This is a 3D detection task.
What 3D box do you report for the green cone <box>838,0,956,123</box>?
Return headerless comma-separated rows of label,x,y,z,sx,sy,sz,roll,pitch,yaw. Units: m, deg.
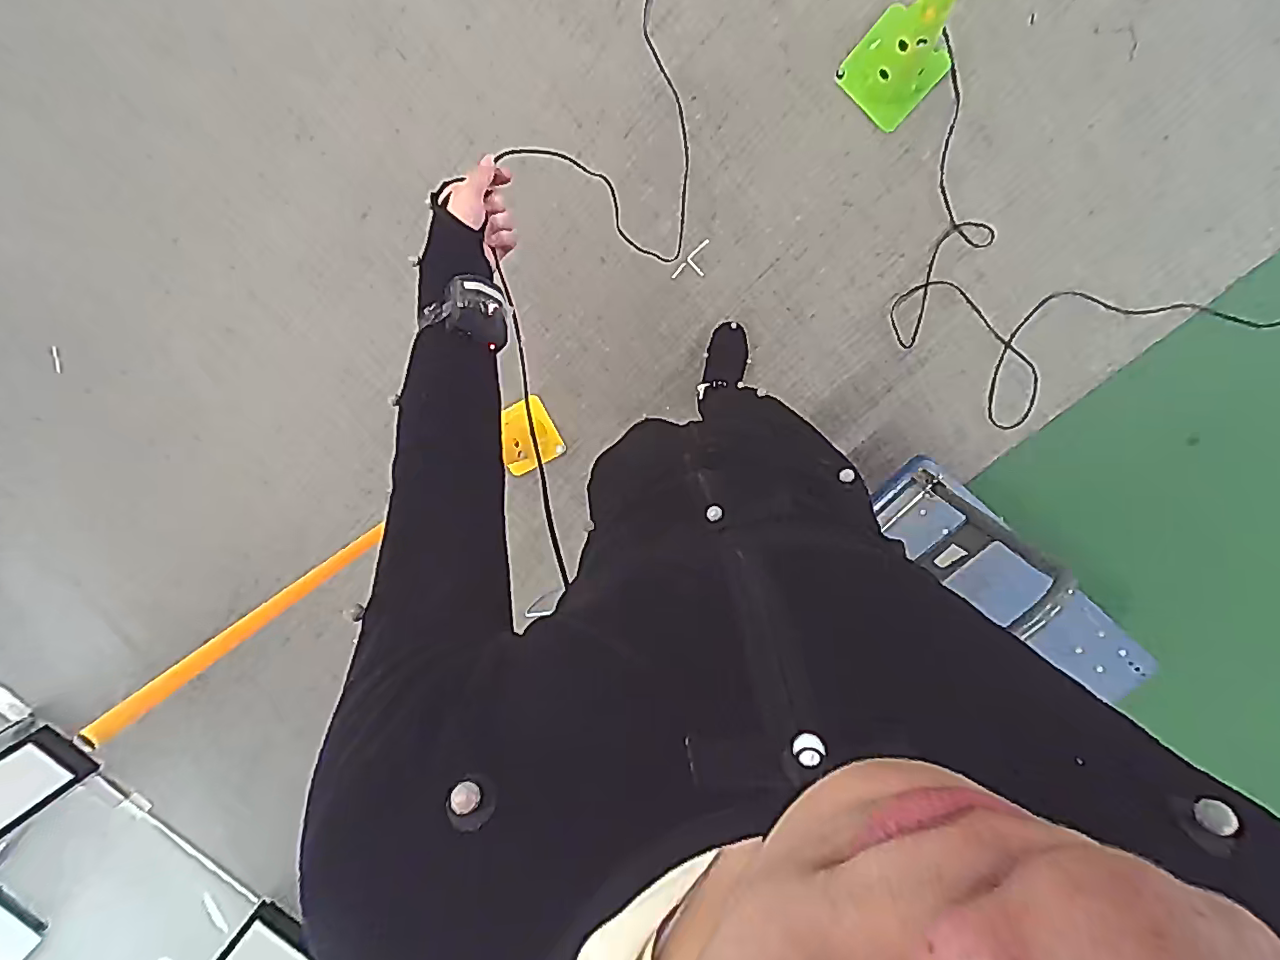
green cone,0.578,-0.941,1.106,0.200,0.368,0.202,42,106,-5
